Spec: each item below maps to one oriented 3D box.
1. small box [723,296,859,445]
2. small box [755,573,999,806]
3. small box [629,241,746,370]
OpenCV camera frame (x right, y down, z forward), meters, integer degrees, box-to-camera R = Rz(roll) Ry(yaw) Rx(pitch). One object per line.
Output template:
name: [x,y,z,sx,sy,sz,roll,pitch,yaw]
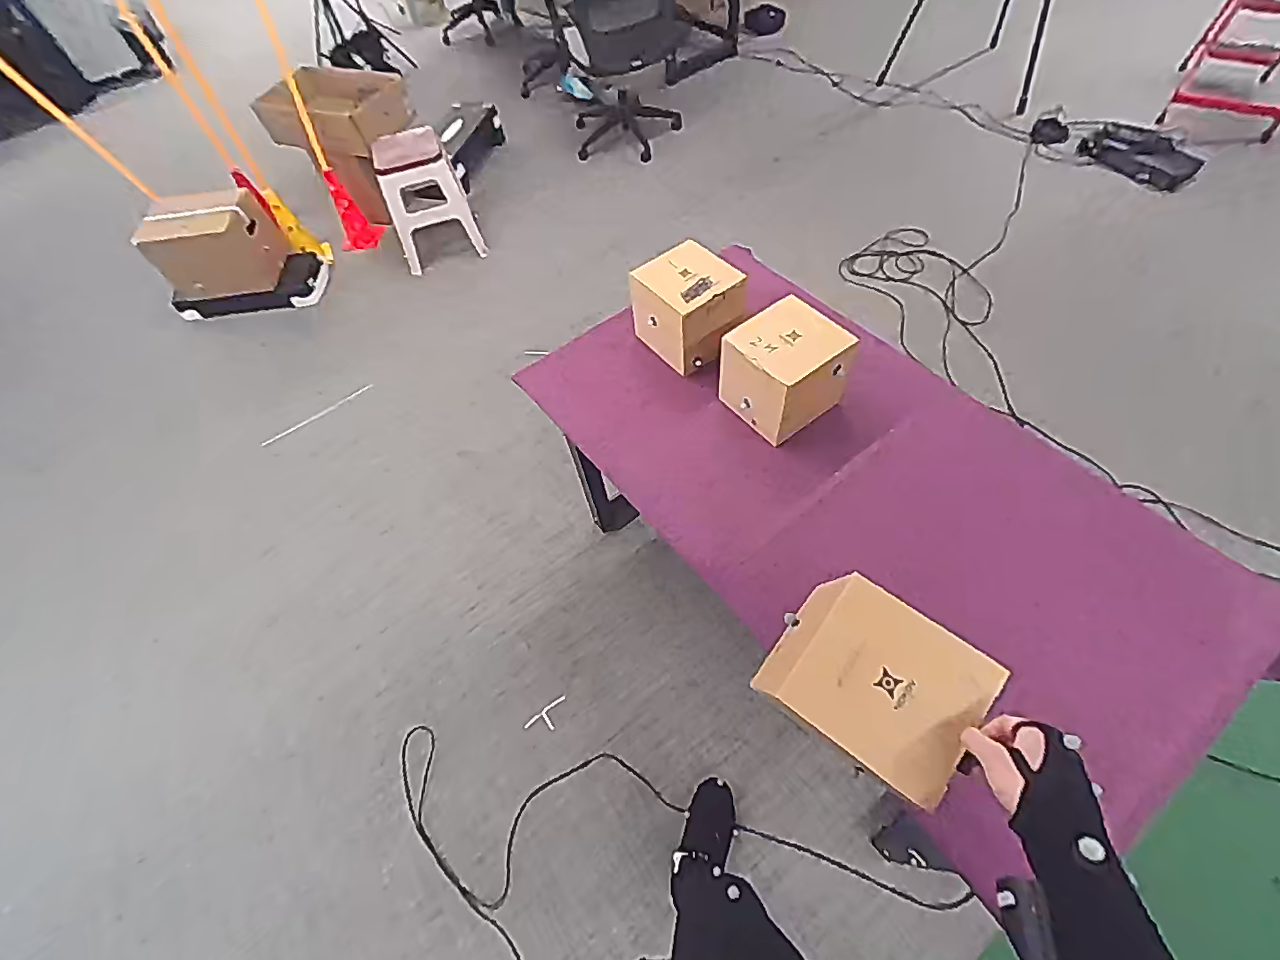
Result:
small box: [0.269,-0.202,1.012,0.179,0.176,0.168,-34,60,-15]
small box: [0.262,0.234,0.640,0.179,0.176,0.168,36,77,12]
small box: [0.099,-0.354,1.126,0.168,0.176,0.179,-34,60,-16]
